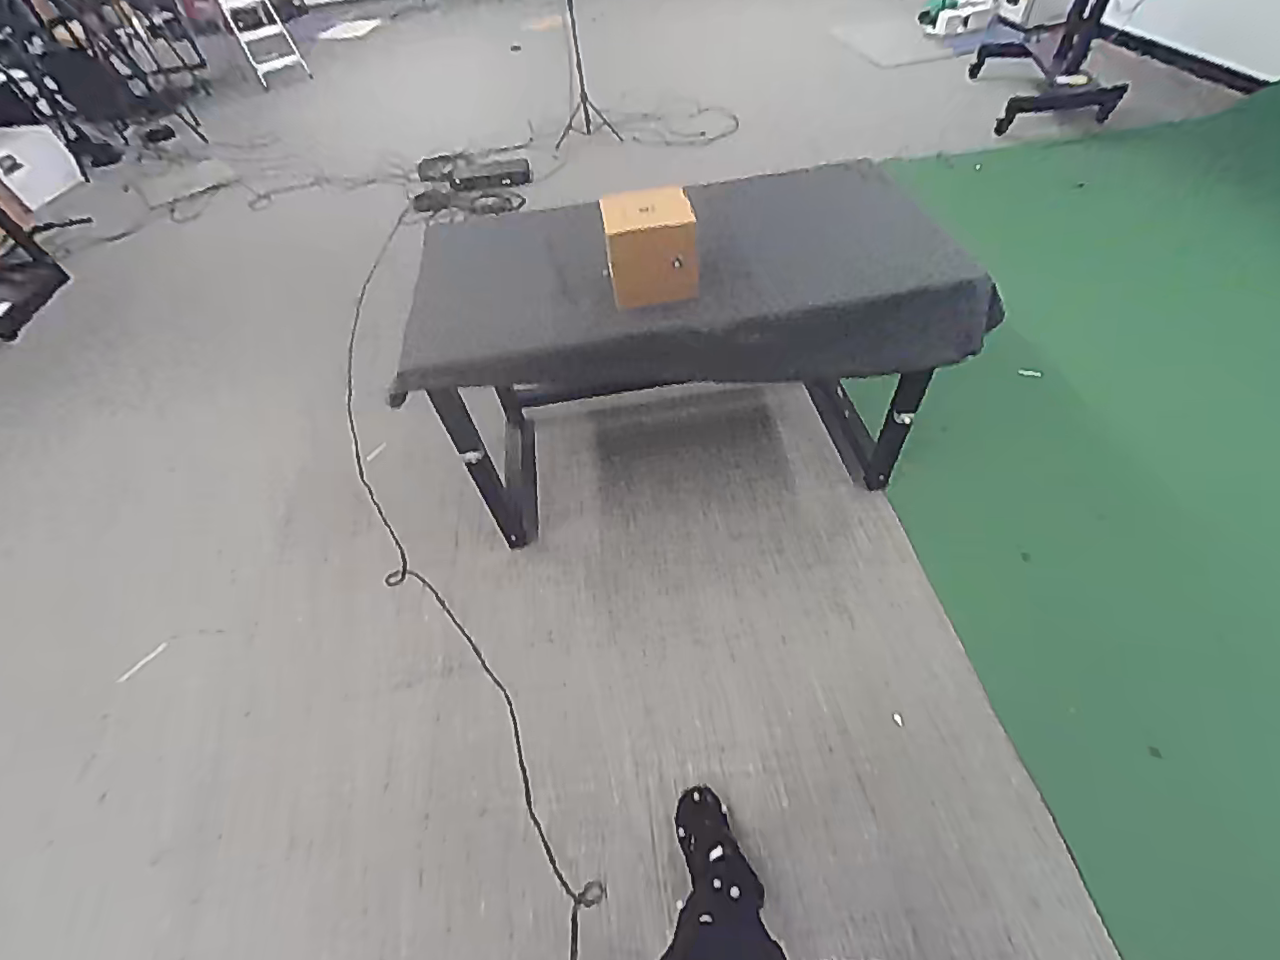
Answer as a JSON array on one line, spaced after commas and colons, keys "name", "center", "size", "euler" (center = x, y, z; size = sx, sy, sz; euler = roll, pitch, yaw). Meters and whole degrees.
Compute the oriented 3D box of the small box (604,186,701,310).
[{"name": "small box", "center": [0.028, -0.482, 1.132], "size": [0.179, 0.176, 0.168], "euler": [-11, 50, 0]}]
